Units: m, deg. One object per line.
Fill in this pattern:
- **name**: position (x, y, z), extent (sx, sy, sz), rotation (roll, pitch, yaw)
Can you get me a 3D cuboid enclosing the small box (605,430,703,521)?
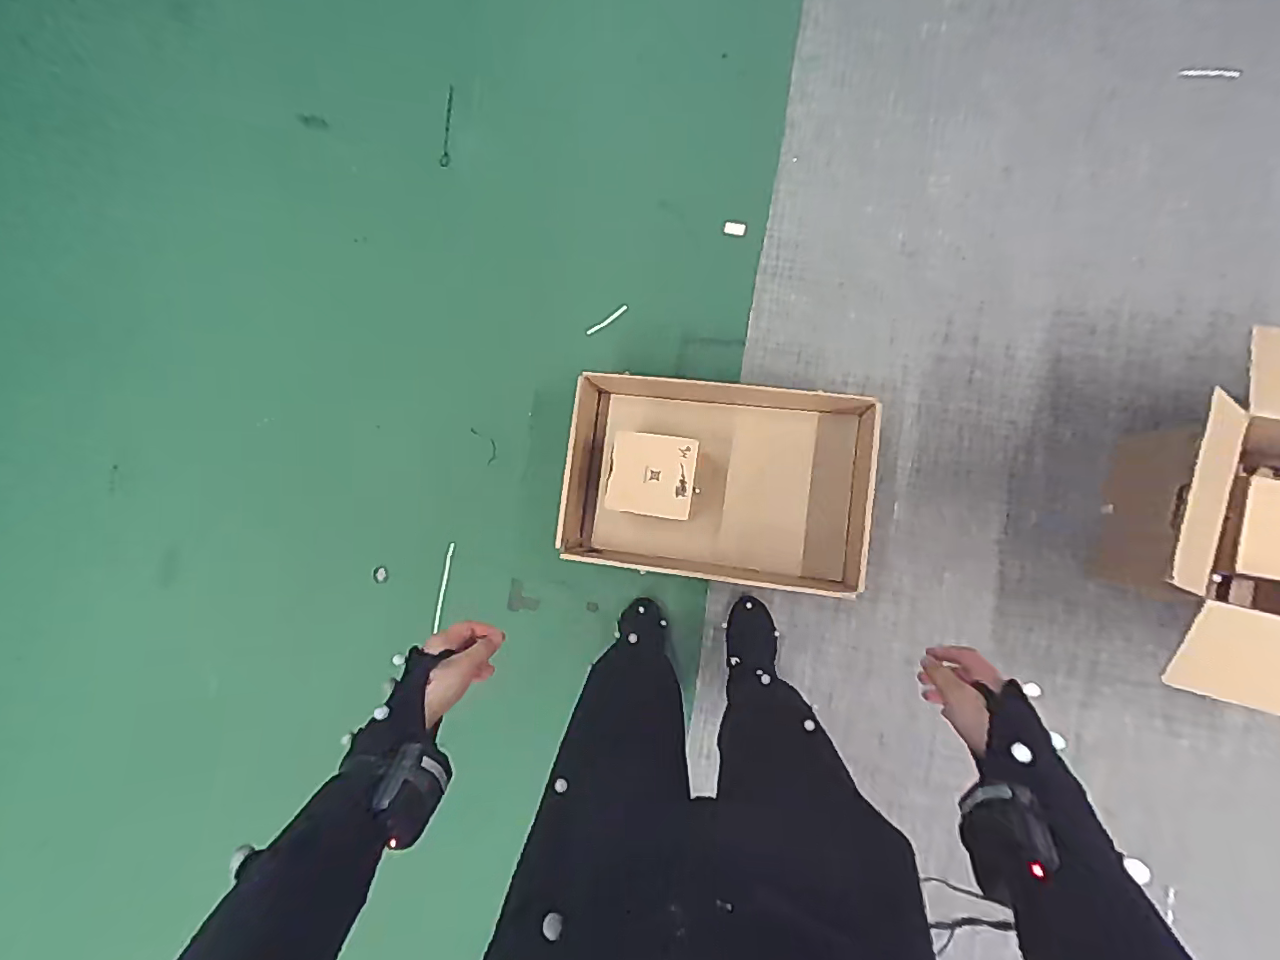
- **small box**: position (0.037, -0.004, 1.165), extent (0.179, 0.176, 0.168), rotation (8, 86, 9)
